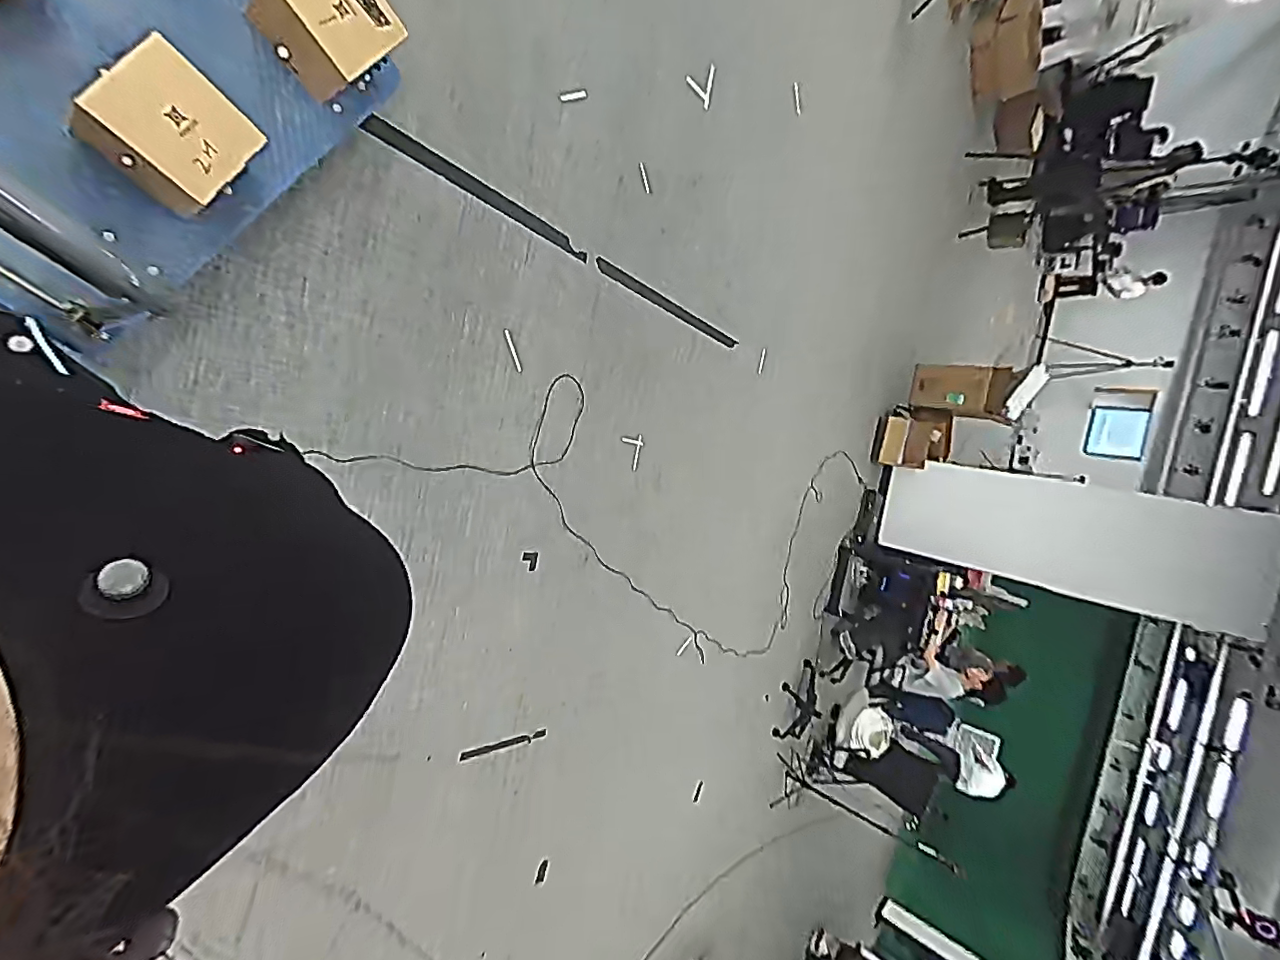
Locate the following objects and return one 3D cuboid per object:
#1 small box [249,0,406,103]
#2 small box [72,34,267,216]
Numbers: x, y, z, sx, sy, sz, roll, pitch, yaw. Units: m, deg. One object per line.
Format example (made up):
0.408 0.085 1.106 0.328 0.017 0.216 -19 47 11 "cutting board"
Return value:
-0.594 -0.862 1.025 0.179 0.176 0.168 -57 136 -20 "small box"
-0.777 -0.569 0.893 0.179 0.176 0.168 46 65 -45 "small box"
